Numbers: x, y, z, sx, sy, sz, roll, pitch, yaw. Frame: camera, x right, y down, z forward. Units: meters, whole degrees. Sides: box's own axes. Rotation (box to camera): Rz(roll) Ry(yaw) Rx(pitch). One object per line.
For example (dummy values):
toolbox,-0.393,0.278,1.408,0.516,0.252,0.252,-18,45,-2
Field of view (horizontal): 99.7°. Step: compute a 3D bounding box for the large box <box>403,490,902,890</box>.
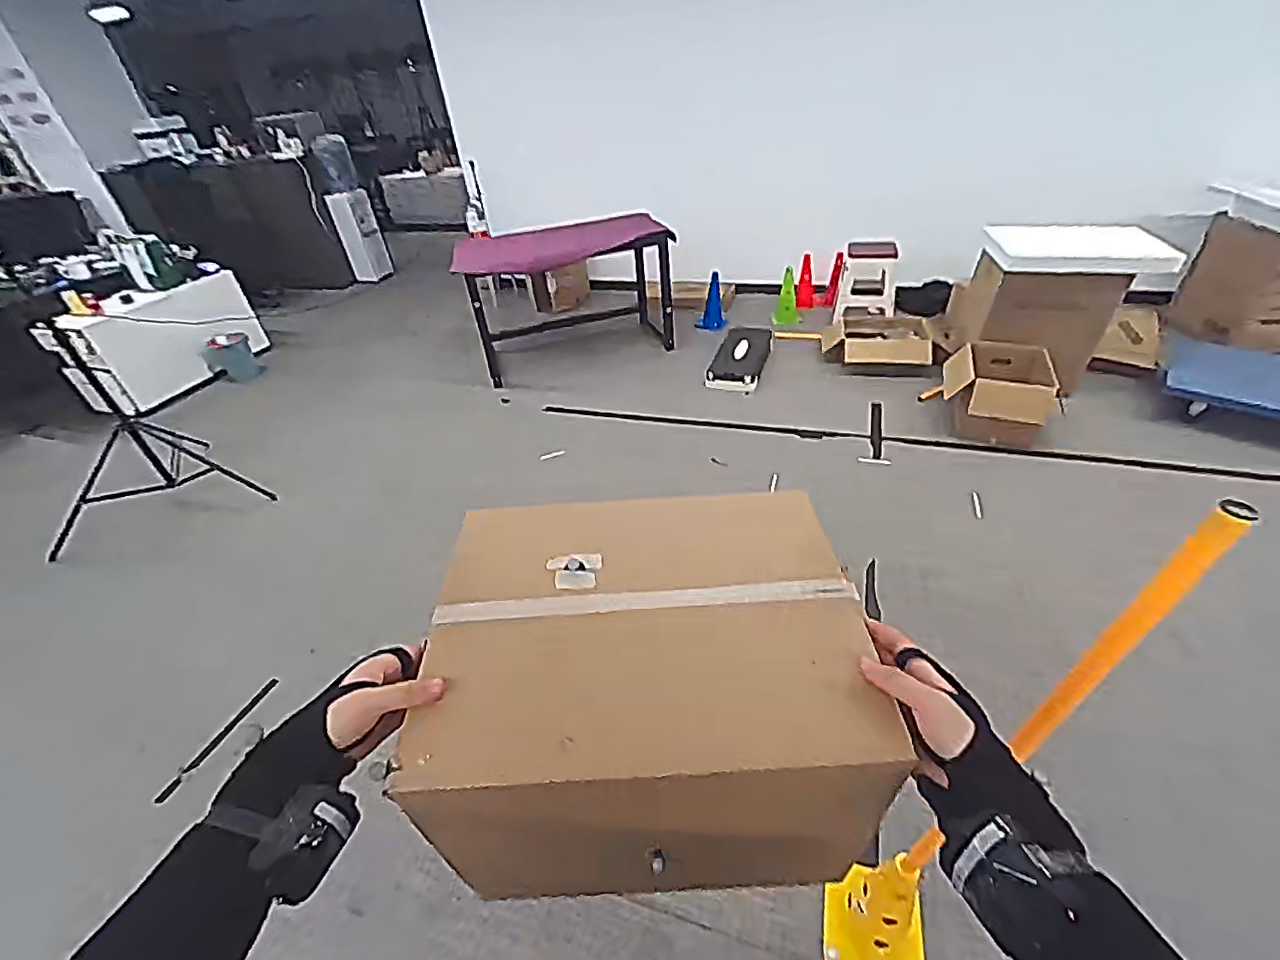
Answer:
large box,0.015,0.241,0.631,0.408,0.320,0.320,-5,39,1
